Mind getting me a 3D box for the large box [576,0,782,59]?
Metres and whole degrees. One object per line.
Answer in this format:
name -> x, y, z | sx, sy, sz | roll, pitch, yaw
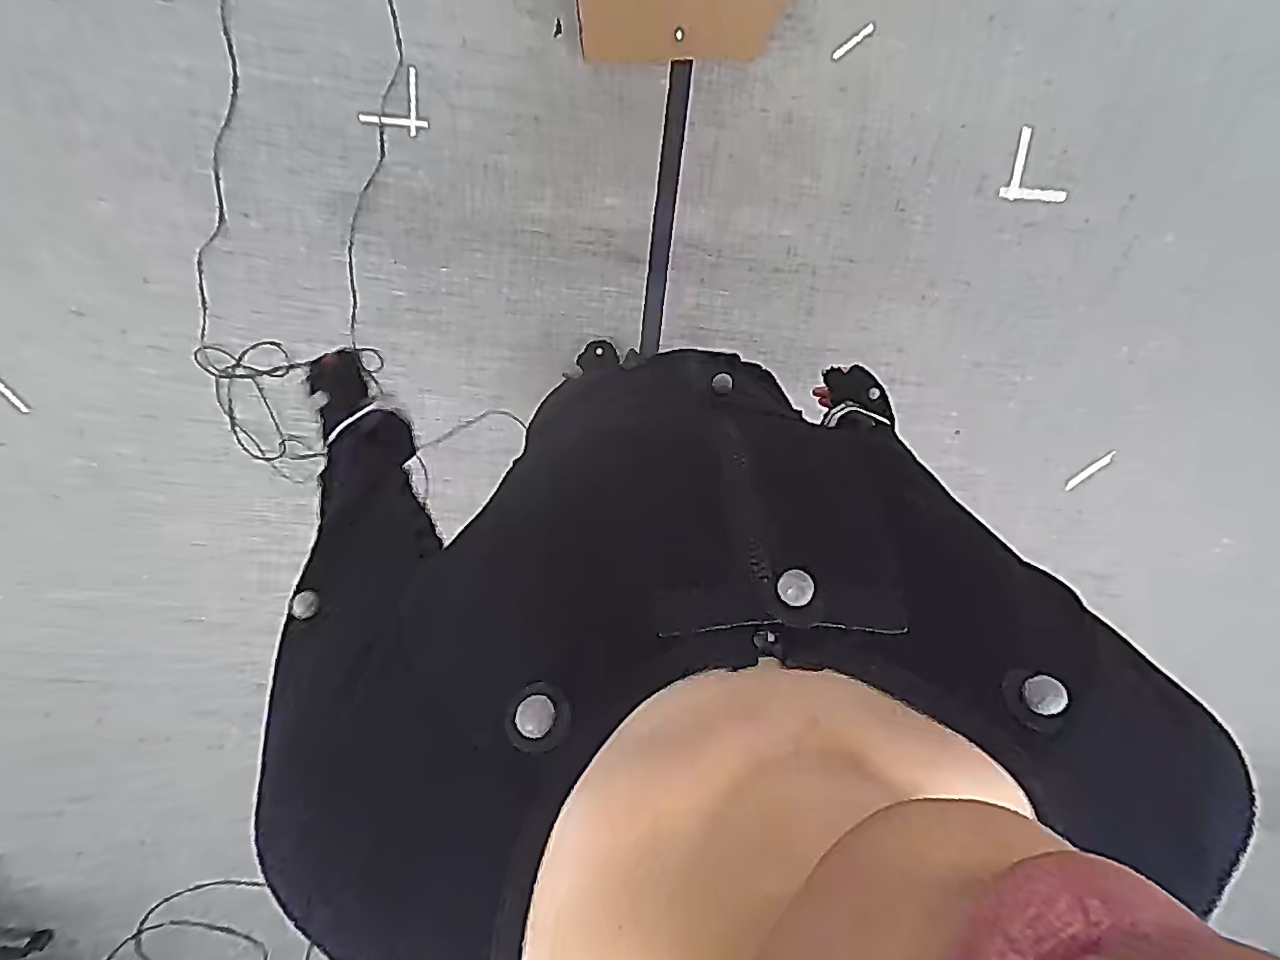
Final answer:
large box -> 0.069, -1.077, 1.059 | 0.408, 0.320, 0.320 | -3, 106, -1
